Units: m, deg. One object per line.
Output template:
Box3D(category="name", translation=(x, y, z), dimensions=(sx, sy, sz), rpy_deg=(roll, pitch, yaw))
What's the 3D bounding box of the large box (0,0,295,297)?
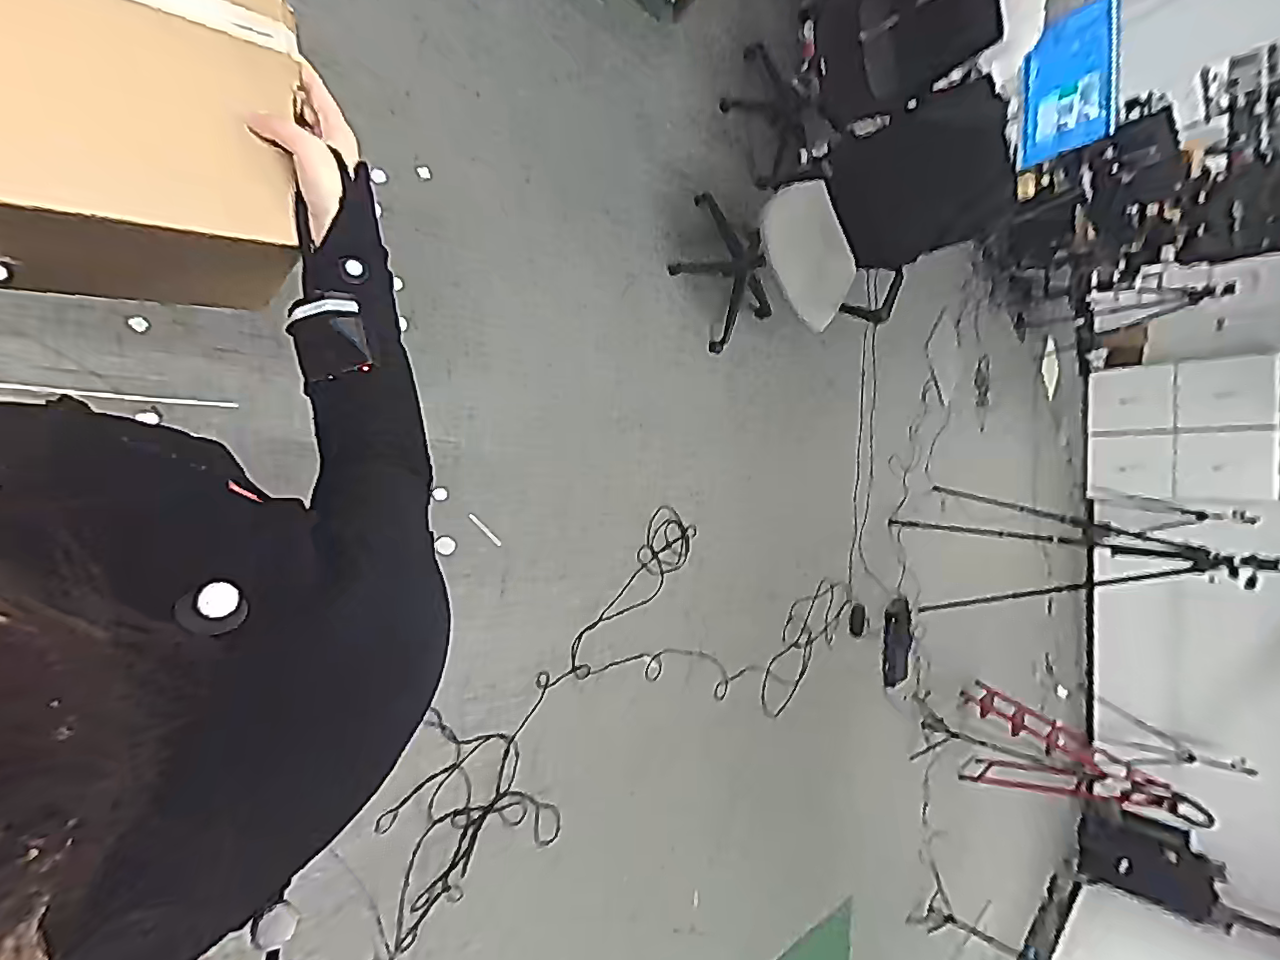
Box3D(category="large box", translation=(-0.543, -0.340, 0.427), dimensions=(0.408, 0.320, 0.320), rpy_deg=(-8, 99, -39))
